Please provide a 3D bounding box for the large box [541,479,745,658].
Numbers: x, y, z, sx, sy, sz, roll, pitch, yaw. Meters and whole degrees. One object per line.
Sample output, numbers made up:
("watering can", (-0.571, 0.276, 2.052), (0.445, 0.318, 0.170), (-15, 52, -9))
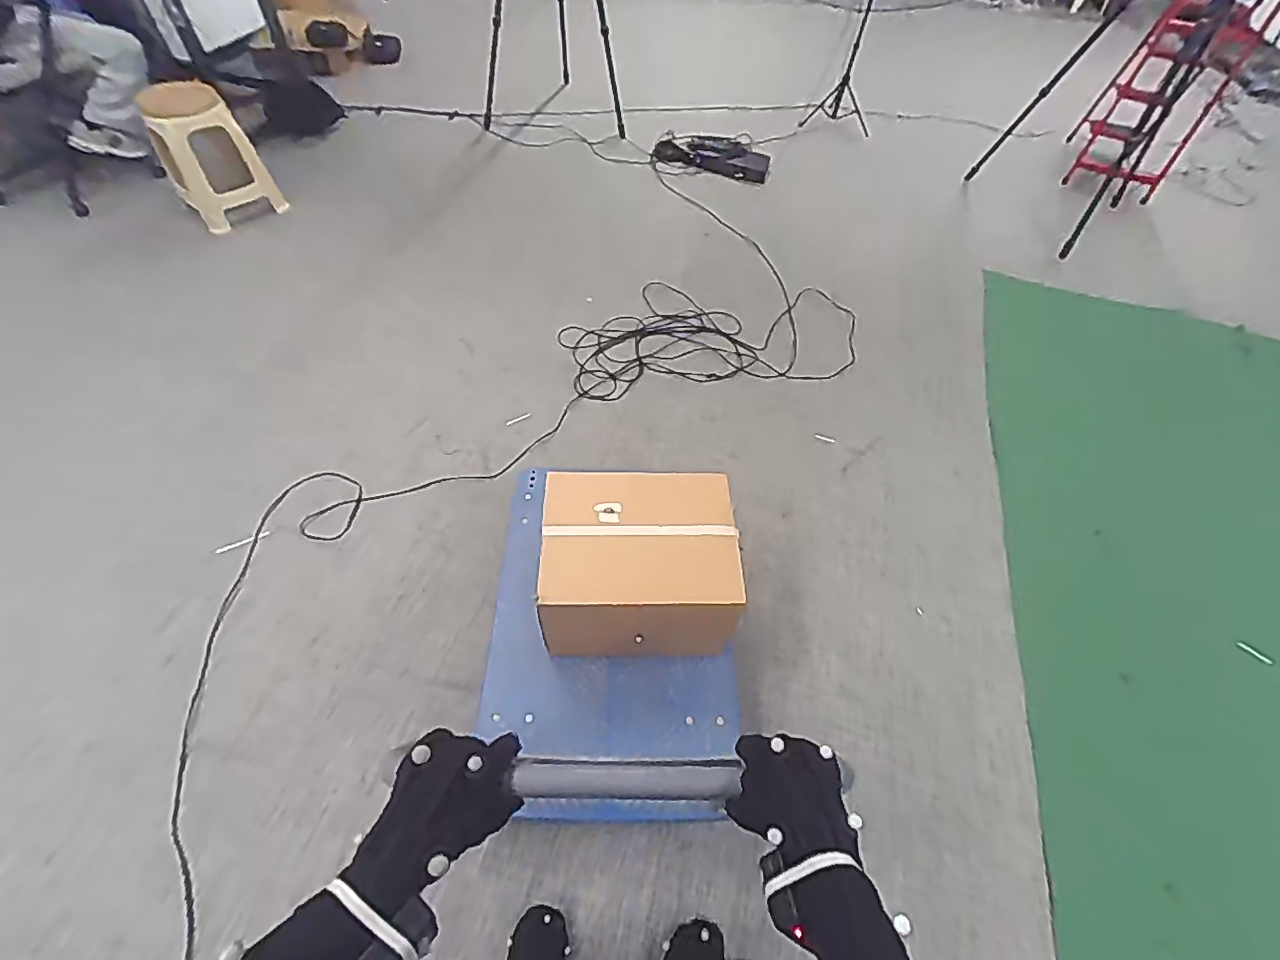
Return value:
("large box", (-0.002, 0.211, 1.251), (0.408, 0.320, 0.320), (0, 53, -3))
